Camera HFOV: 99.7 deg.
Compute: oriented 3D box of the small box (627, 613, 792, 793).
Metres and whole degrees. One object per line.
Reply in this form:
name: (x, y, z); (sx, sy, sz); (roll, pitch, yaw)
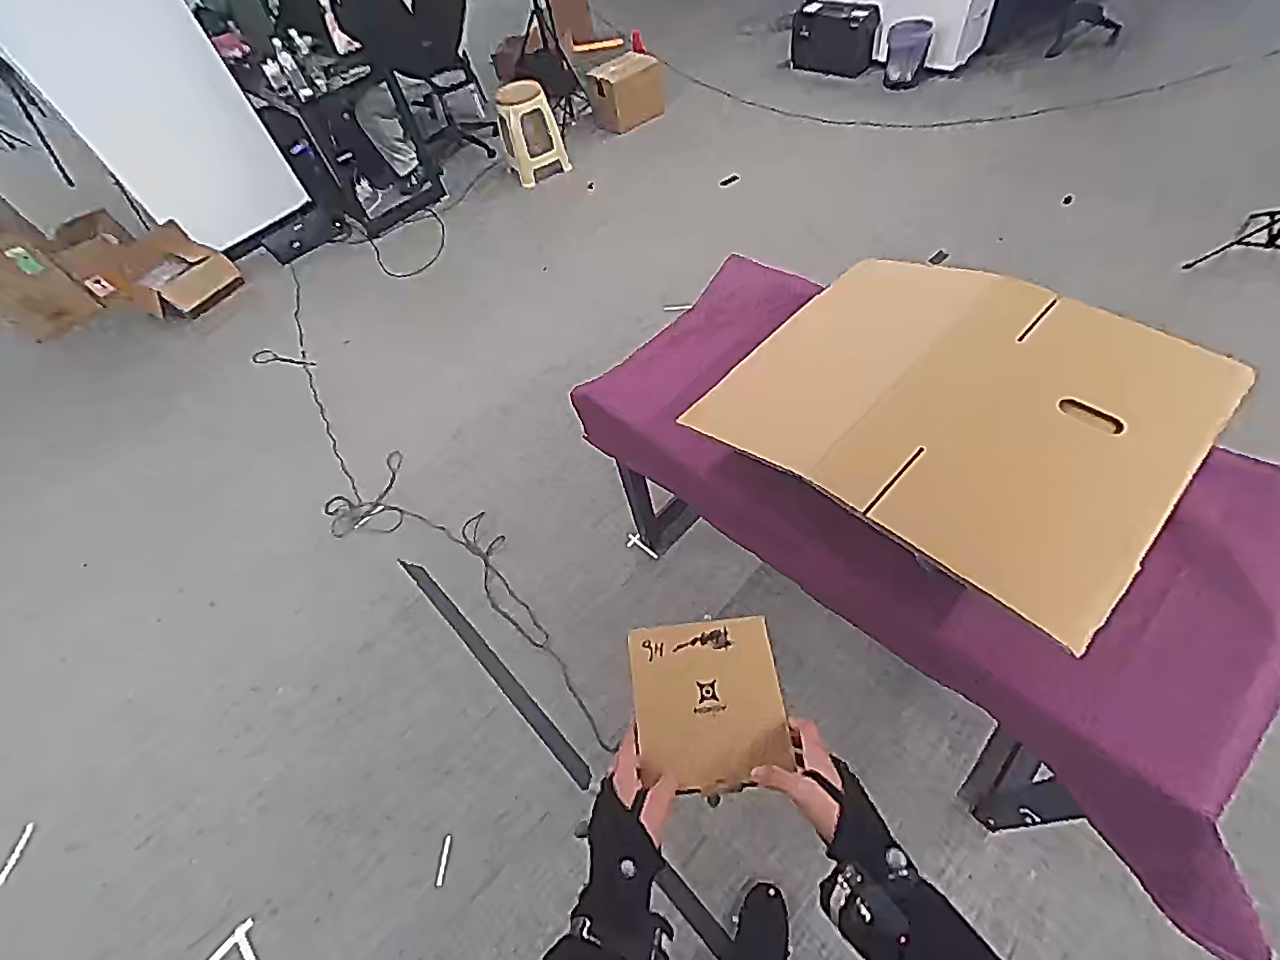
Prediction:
small box: (0.075, 0.280, 0.676); (0.168, 0.176, 0.179); (-5, 61, -2)
